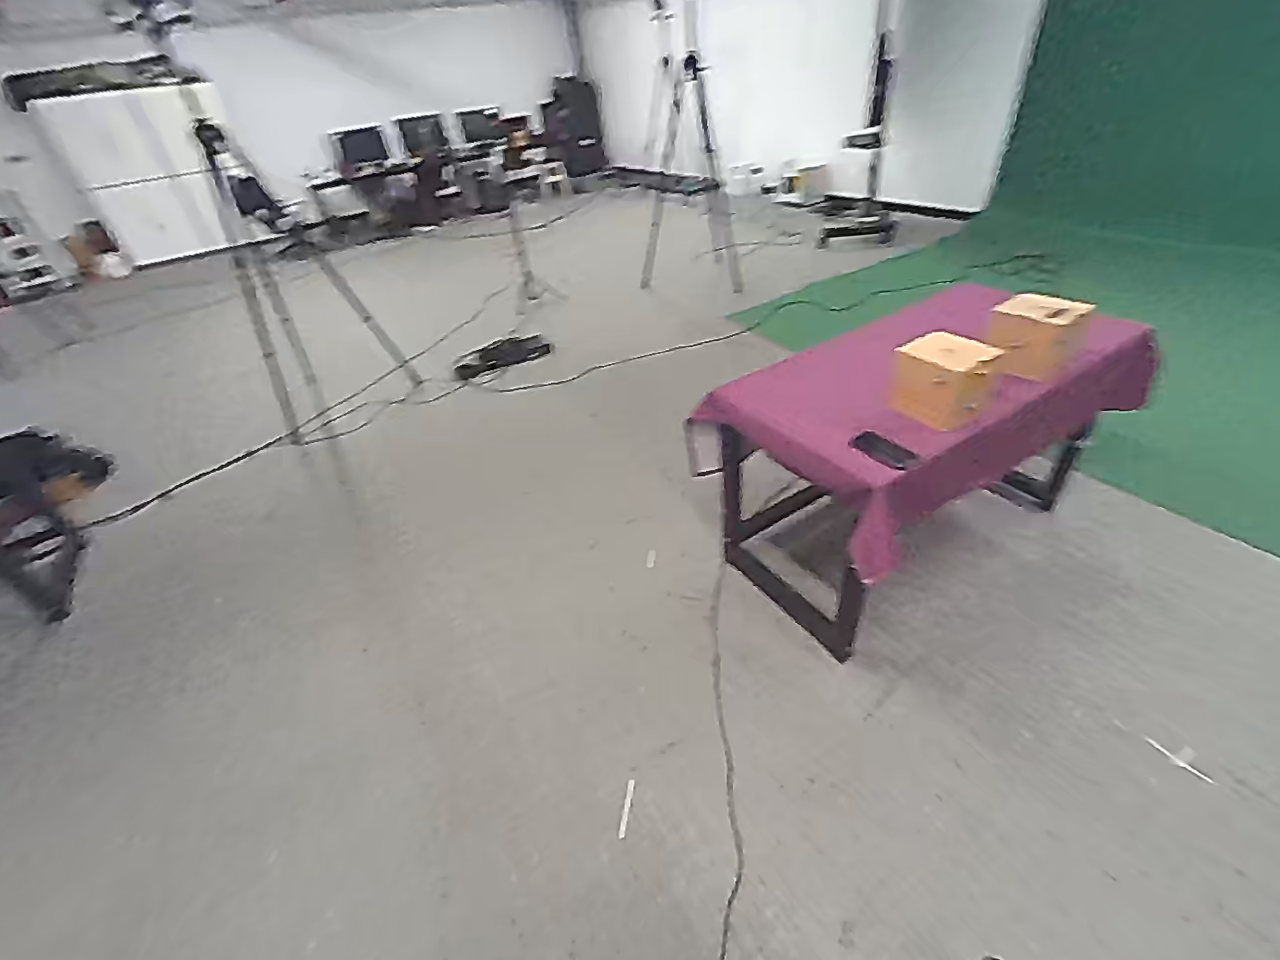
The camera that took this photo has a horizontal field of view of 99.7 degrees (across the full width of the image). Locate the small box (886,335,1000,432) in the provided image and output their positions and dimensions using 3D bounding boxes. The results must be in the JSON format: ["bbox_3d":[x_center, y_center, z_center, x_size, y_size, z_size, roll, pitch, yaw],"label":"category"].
[{"bbox_3d":[0.761,-0.245,1.378,0.168,0.176,0.179,-25,41,-22],"label":"small box"}]
